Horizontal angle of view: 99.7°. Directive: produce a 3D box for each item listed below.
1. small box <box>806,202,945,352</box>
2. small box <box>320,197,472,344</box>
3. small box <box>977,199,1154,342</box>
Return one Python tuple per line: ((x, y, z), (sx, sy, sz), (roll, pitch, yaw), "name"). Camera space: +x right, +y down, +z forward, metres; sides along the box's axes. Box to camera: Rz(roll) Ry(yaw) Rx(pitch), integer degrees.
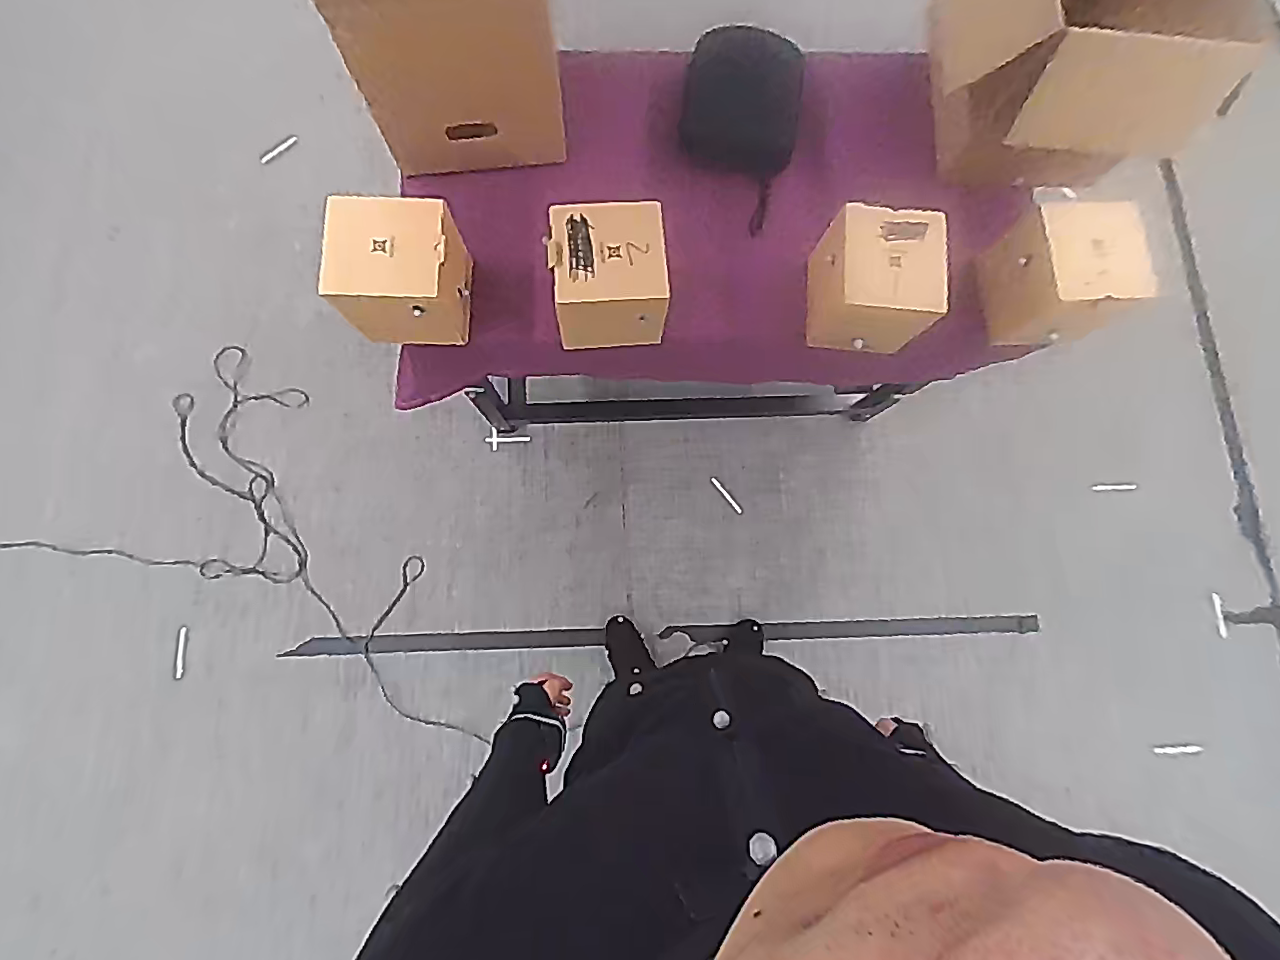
((0.394, -0.340, 0.929), (0.168, 0.176, 0.179), (4, 82, -2), "small box")
((-0.389, -0.334, 0.889), (0.179, 0.176, 0.168), (0, 80, -4), "small box")
((0.727, -0.359, 0.947), (0.168, 0.176, 0.179), (-3, 81, -2), "small box")
